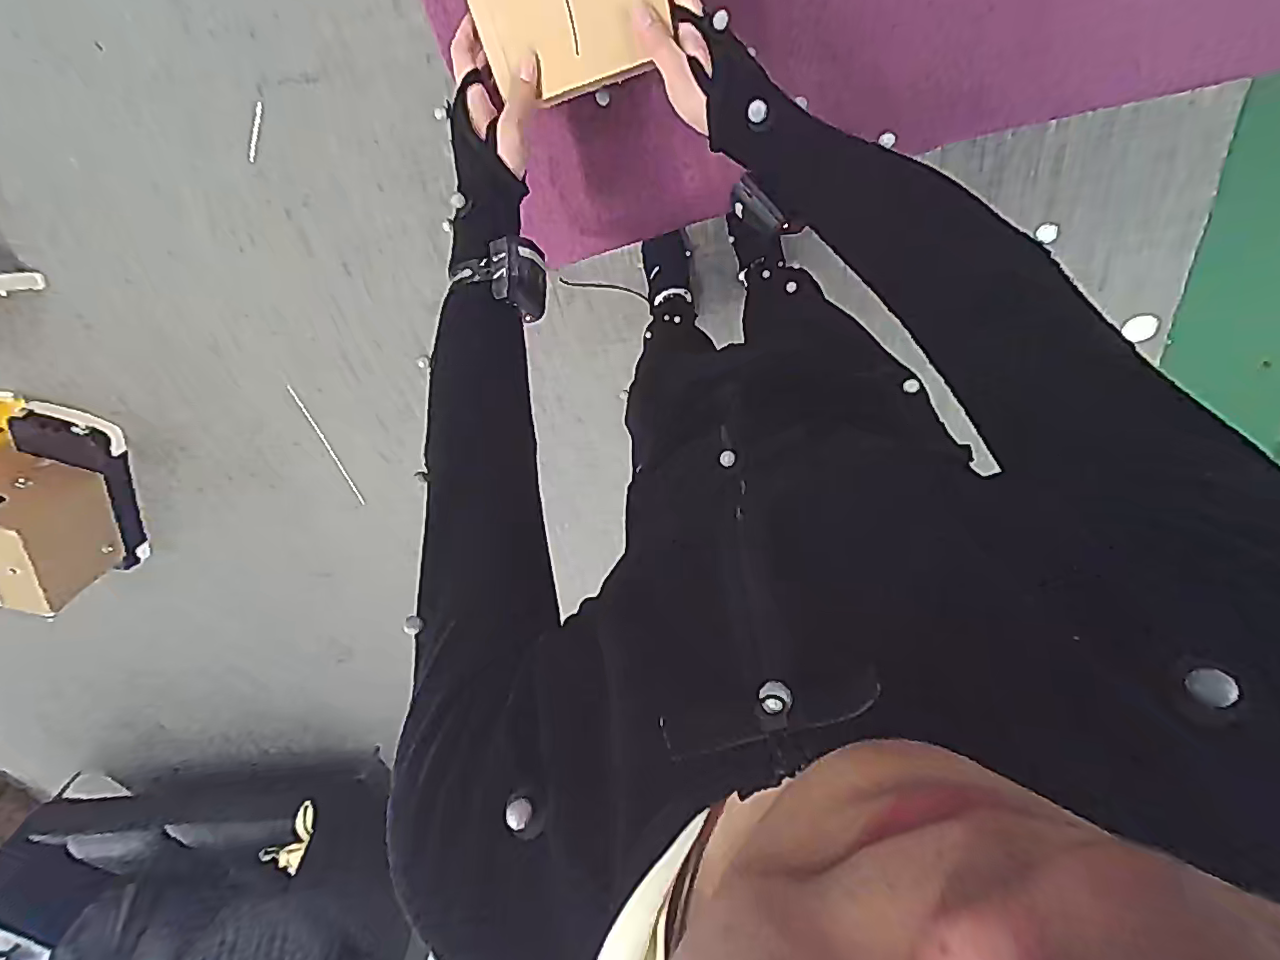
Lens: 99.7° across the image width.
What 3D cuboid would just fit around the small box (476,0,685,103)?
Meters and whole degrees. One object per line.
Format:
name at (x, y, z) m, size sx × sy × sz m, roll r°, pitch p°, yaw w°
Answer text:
small box at (-0.057, -0.472, 0.495) m, size 0.168 × 0.176 × 0.179 m, roll -10°, pitch 125°, yaw 13°
